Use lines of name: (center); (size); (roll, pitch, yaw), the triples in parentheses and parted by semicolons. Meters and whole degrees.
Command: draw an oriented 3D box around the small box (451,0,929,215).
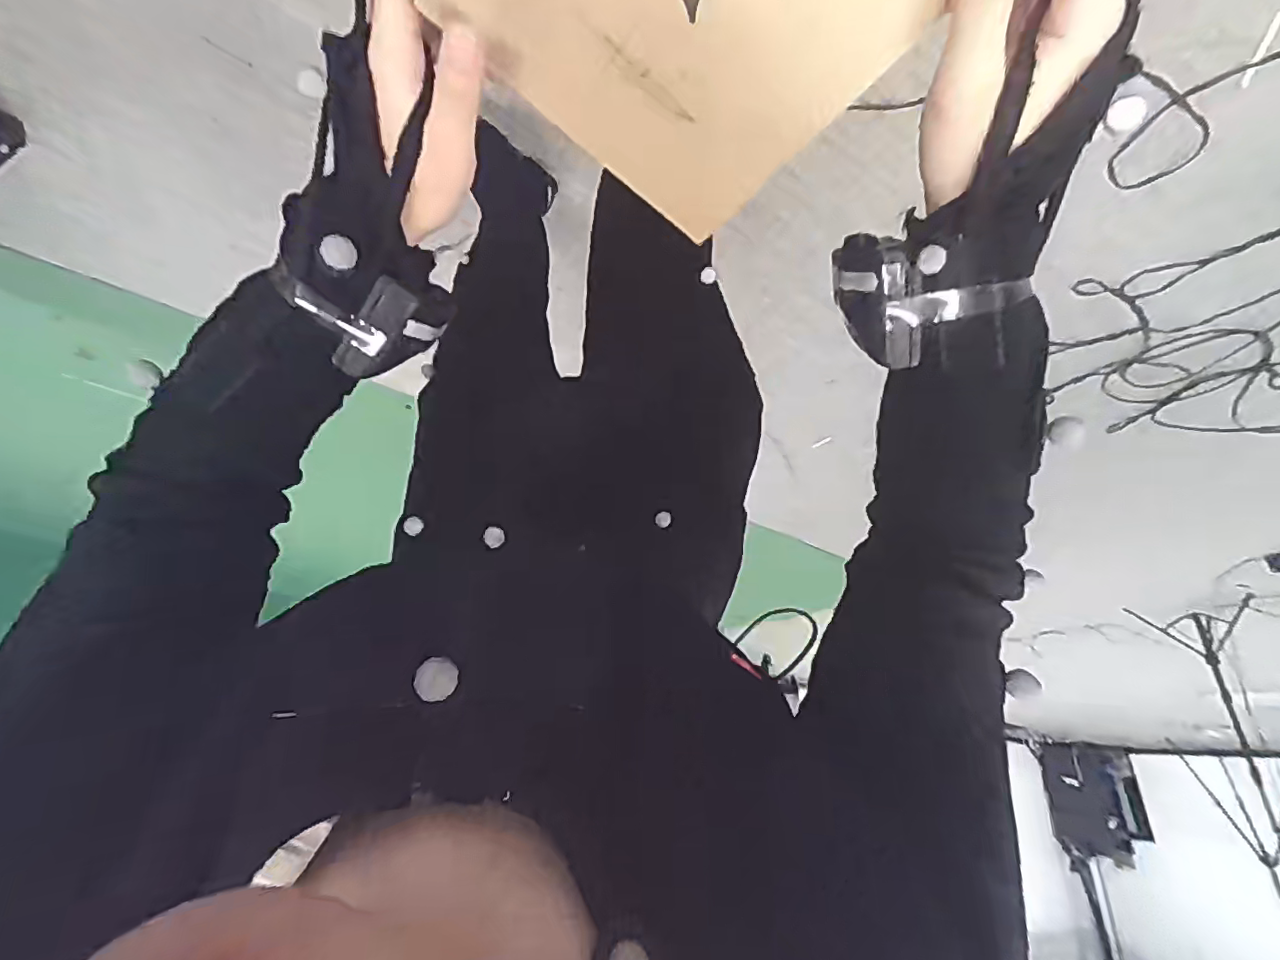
small box: (0.037, -0.278, 0.247); (0.168, 0.176, 0.179); (28, 146, -27)
